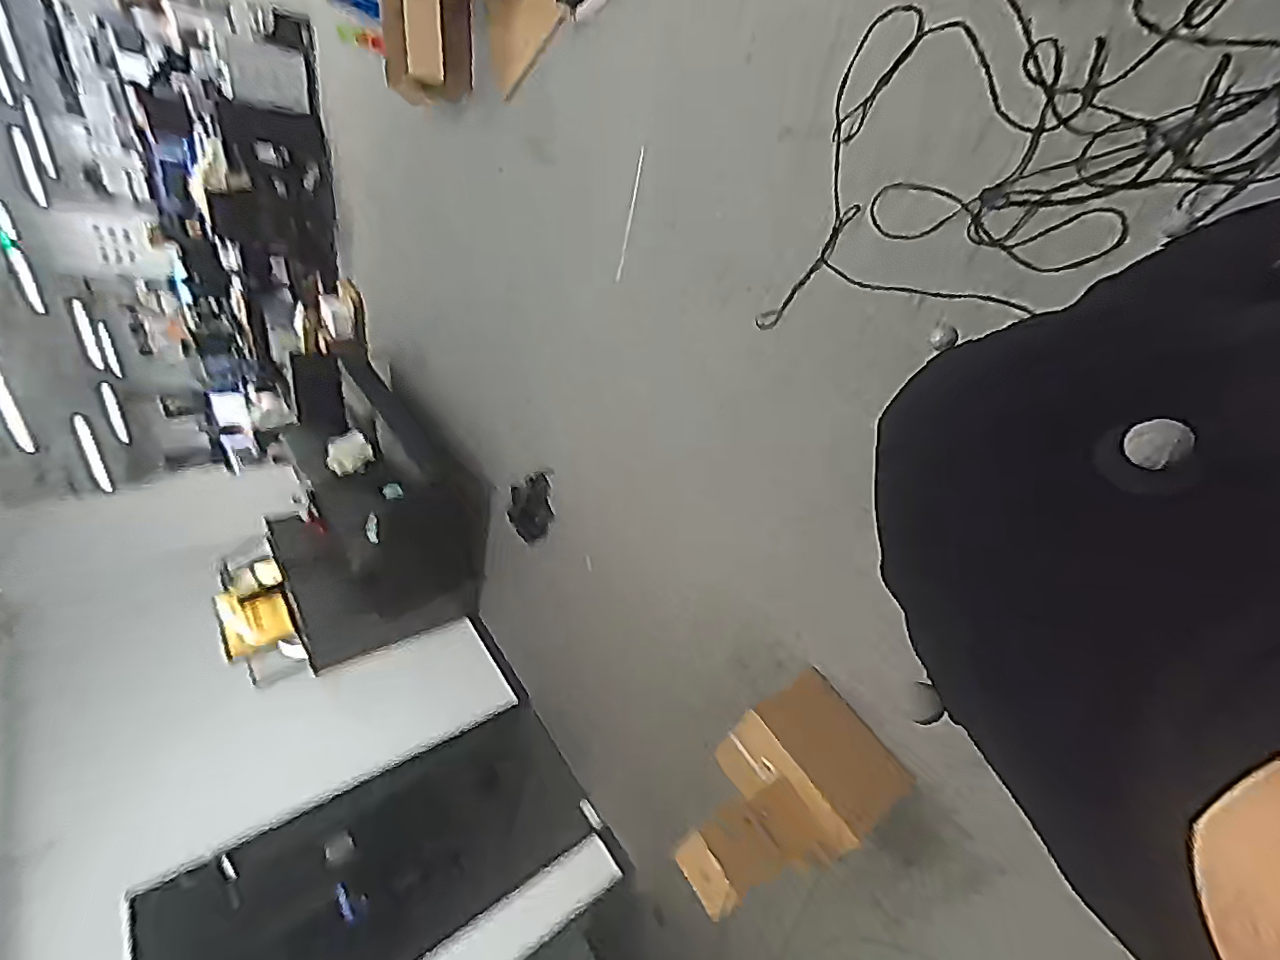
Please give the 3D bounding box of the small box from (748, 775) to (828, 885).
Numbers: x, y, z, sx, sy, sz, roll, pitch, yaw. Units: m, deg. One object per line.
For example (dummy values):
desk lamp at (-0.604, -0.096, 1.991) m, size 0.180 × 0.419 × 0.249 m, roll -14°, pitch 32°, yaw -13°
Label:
small box at (0.373, 0.947, 1.470) m, size 0.179 × 0.176 × 0.168 m, roll 52°, pitch 137°, yaw 28°

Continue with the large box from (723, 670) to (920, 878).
large box at (0.535, 0.871, 1.639) m, size 0.408 × 0.320 × 0.320 m, roll 48°, pitch 134°, yaw 32°

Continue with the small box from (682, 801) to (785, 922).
small box at (0.241, 0.961, 1.376) m, size 0.168 × 0.176 × 0.179 m, roll 47°, pitch 135°, yaw 34°
